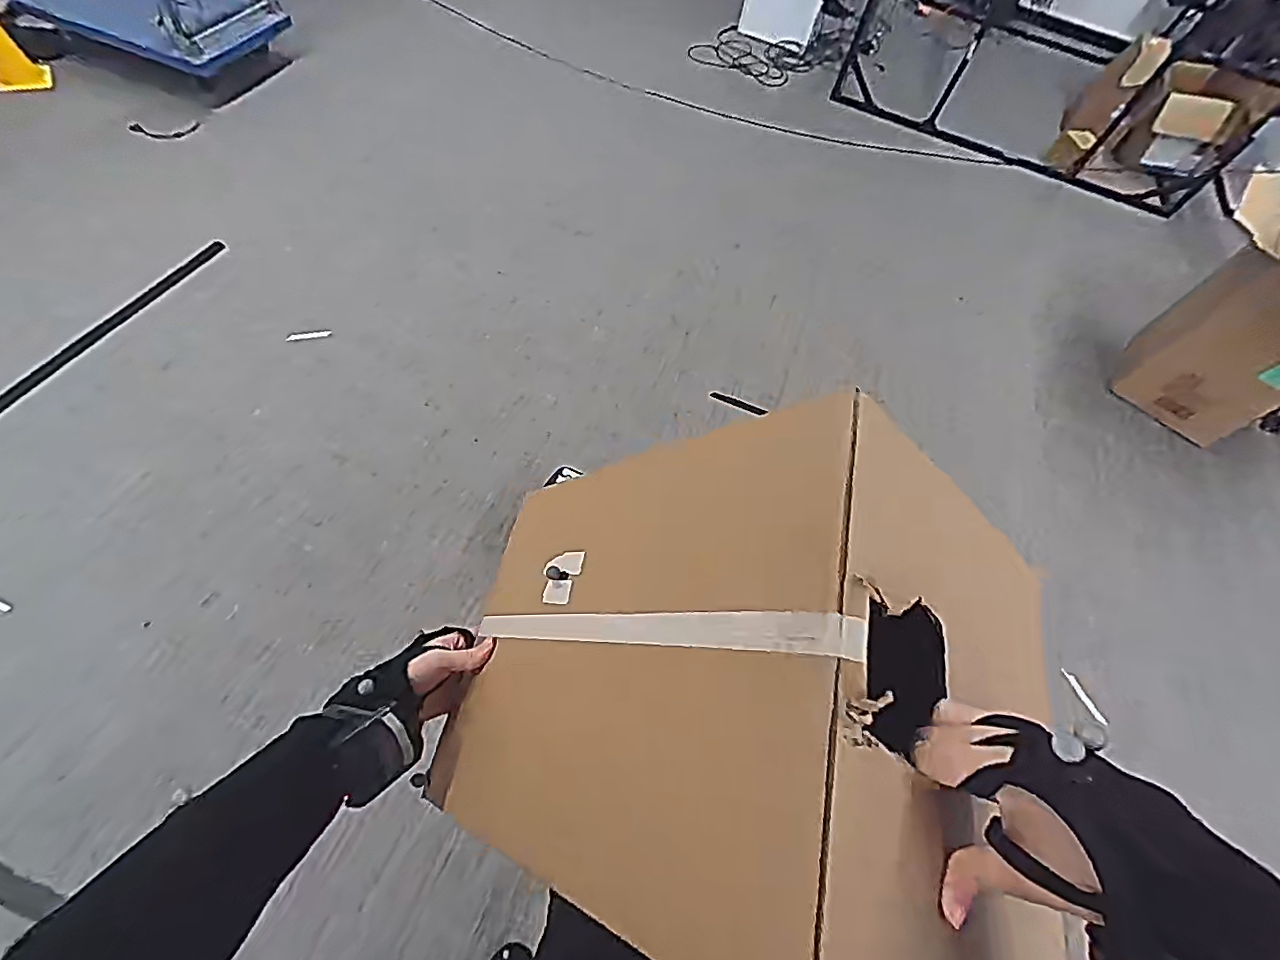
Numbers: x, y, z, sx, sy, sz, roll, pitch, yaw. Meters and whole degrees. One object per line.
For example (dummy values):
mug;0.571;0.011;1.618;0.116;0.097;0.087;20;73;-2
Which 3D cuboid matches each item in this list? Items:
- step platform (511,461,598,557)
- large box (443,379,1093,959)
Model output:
step platform;0.005;0.224;1.431;0.684;0.204;0.286;28;60;8
large box;0.092;0.174;0.483;0.320;0.408;0.320;32;60;-31
